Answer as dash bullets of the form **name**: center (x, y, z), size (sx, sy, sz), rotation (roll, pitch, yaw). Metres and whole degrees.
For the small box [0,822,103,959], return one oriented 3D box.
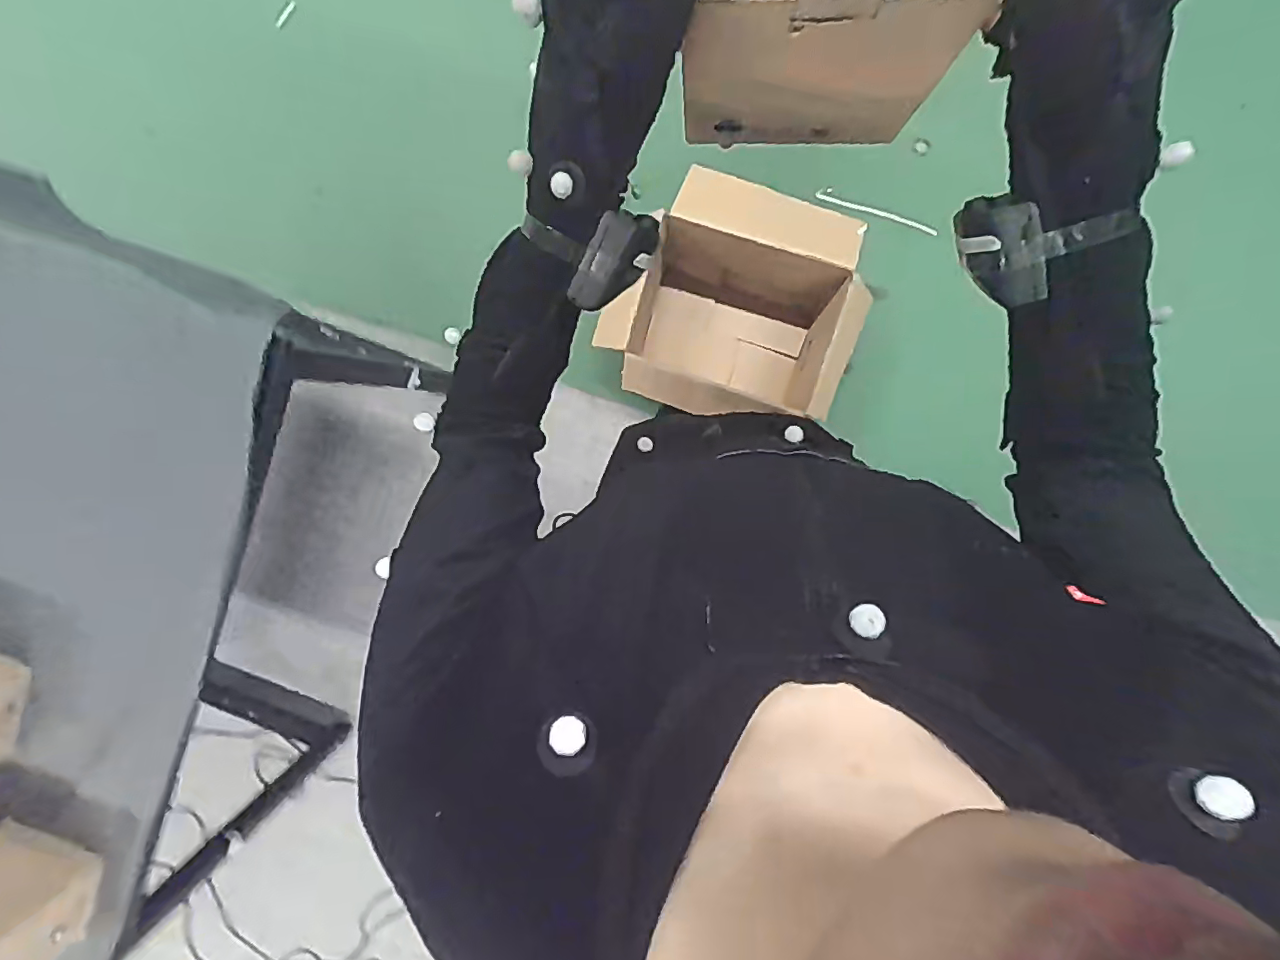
- **small box**: center (-0.992, 0.663, 0.816), size (0.179, 0.176, 0.168), rotation (22, 98, 0)

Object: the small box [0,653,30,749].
- **small box**: center (-1.074, 0.340, 0.784), size (0.179, 0.176, 0.168), rotation (22, 98, 1)
